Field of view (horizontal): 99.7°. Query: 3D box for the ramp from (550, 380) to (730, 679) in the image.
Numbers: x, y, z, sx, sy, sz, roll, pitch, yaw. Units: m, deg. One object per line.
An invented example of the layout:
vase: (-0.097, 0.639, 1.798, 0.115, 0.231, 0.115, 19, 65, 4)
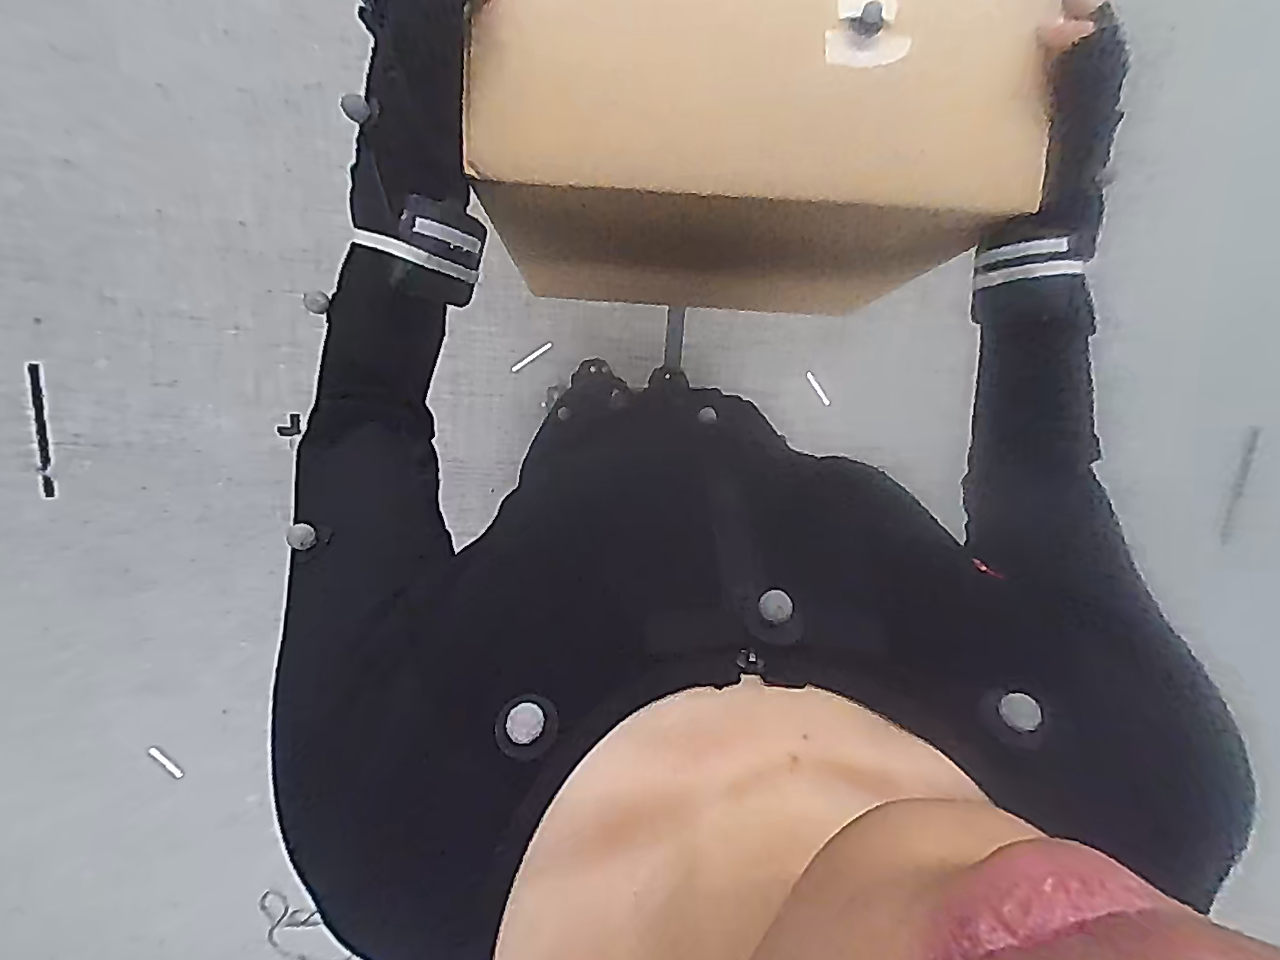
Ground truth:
ramp: (-0.020, 0.203, 1.634, 0.509, 0.206, 0.991, 1, 102, -2)

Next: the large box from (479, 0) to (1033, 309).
large box: (0.078, -0.366, 0.531, 0.408, 0.320, 0.320, 2, 94, -3)
